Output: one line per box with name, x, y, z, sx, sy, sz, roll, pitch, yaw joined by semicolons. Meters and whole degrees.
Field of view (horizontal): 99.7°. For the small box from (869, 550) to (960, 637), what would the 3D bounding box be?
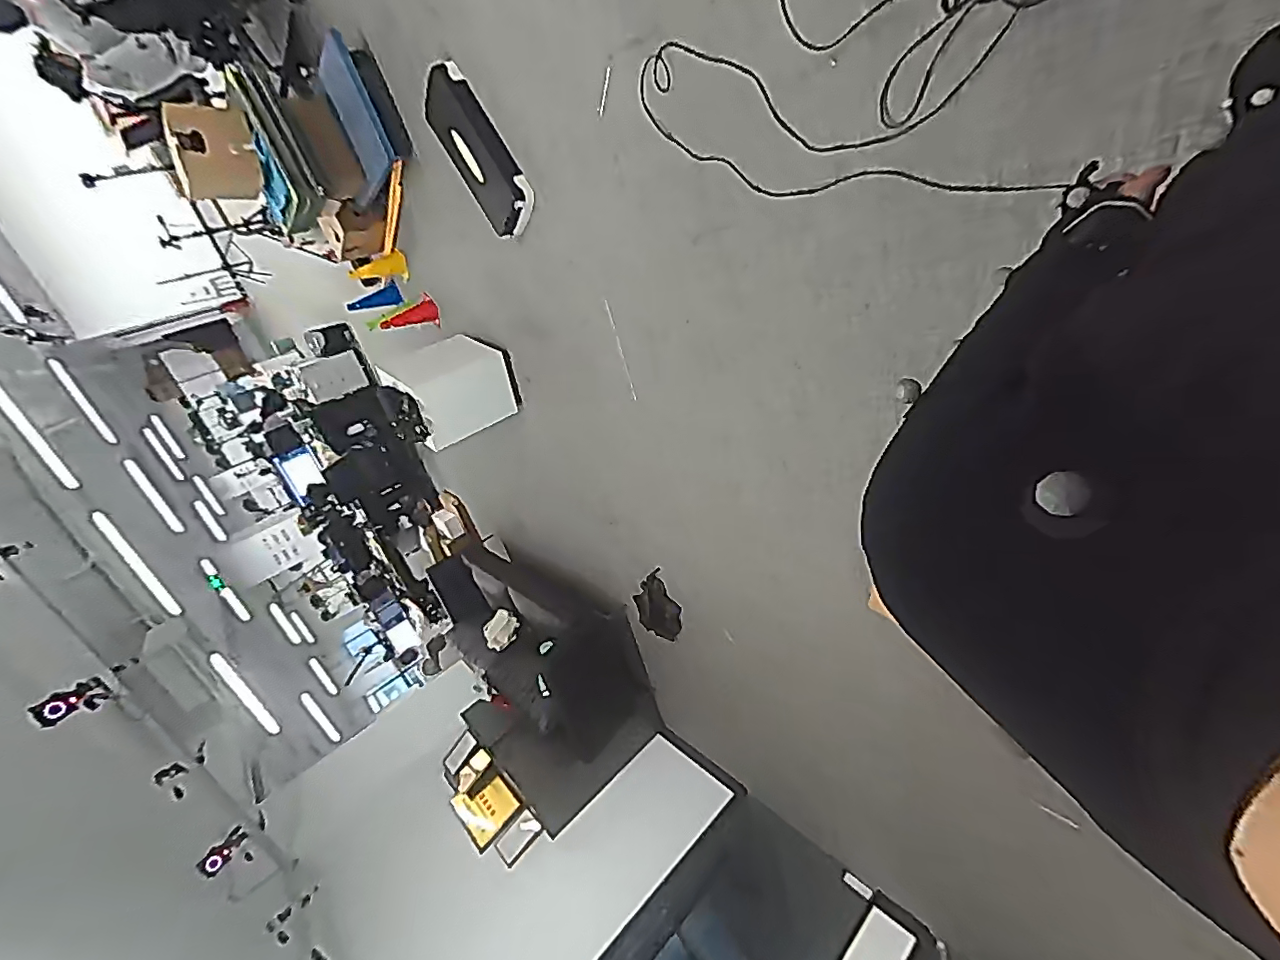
small box;0.847;0.340;1.670;0.179;0.176;0.168;31;141;36
